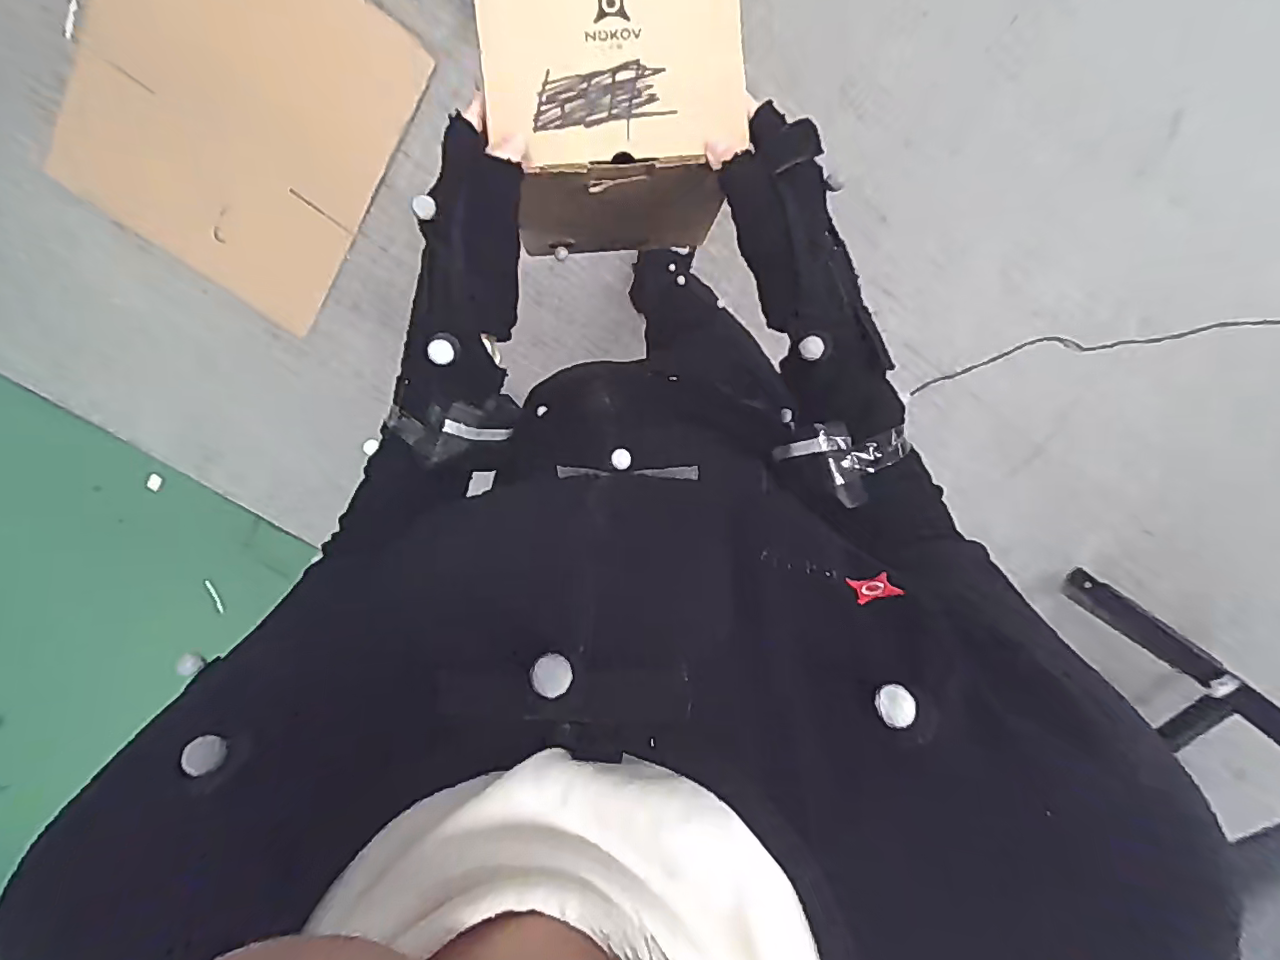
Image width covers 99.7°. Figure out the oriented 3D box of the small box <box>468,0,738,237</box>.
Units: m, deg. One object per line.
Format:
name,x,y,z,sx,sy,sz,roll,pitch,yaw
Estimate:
small box,-0.026,-0.303,0.416,0.168,0.176,0.179,-6,95,-1
